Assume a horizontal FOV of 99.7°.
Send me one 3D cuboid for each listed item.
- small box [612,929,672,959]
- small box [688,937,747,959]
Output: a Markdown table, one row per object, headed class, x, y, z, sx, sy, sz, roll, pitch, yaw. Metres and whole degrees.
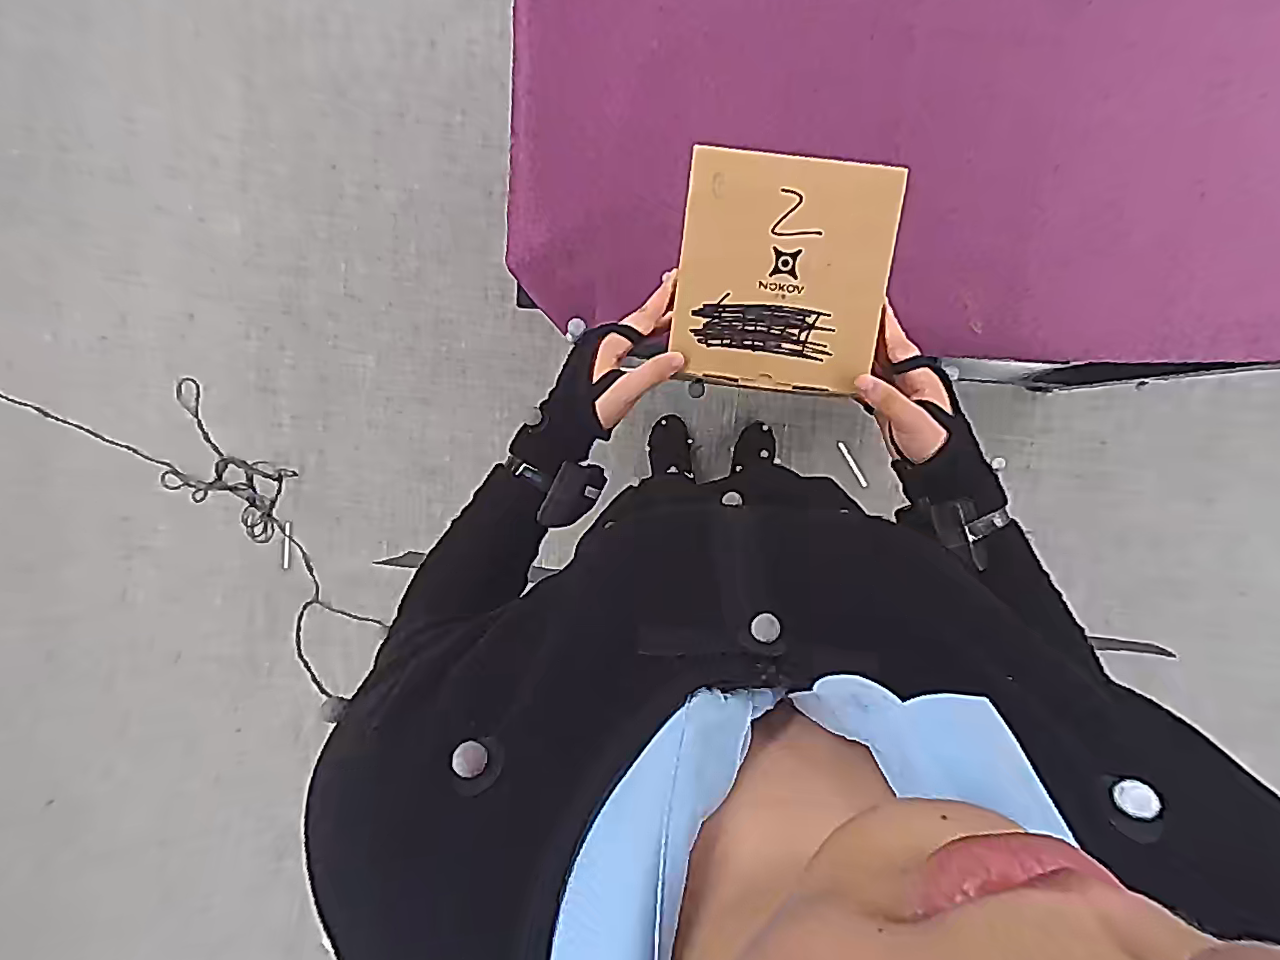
| class | x | y | z | sx | sy | sz | roll | pitch | yaw |
| --- | --- | --- | --- | --- | --- | --- | --- | --- | --- |
| small box | -0.001 | 1.429 | 1.520 | 0.168 | 0.176 | 0.179 | 10 | 96 | 2 |
| small box | 0.216 | 1.427 | 1.503 | 0.168 | 0.176 | 0.179 | 3 | 96 | 5 |
